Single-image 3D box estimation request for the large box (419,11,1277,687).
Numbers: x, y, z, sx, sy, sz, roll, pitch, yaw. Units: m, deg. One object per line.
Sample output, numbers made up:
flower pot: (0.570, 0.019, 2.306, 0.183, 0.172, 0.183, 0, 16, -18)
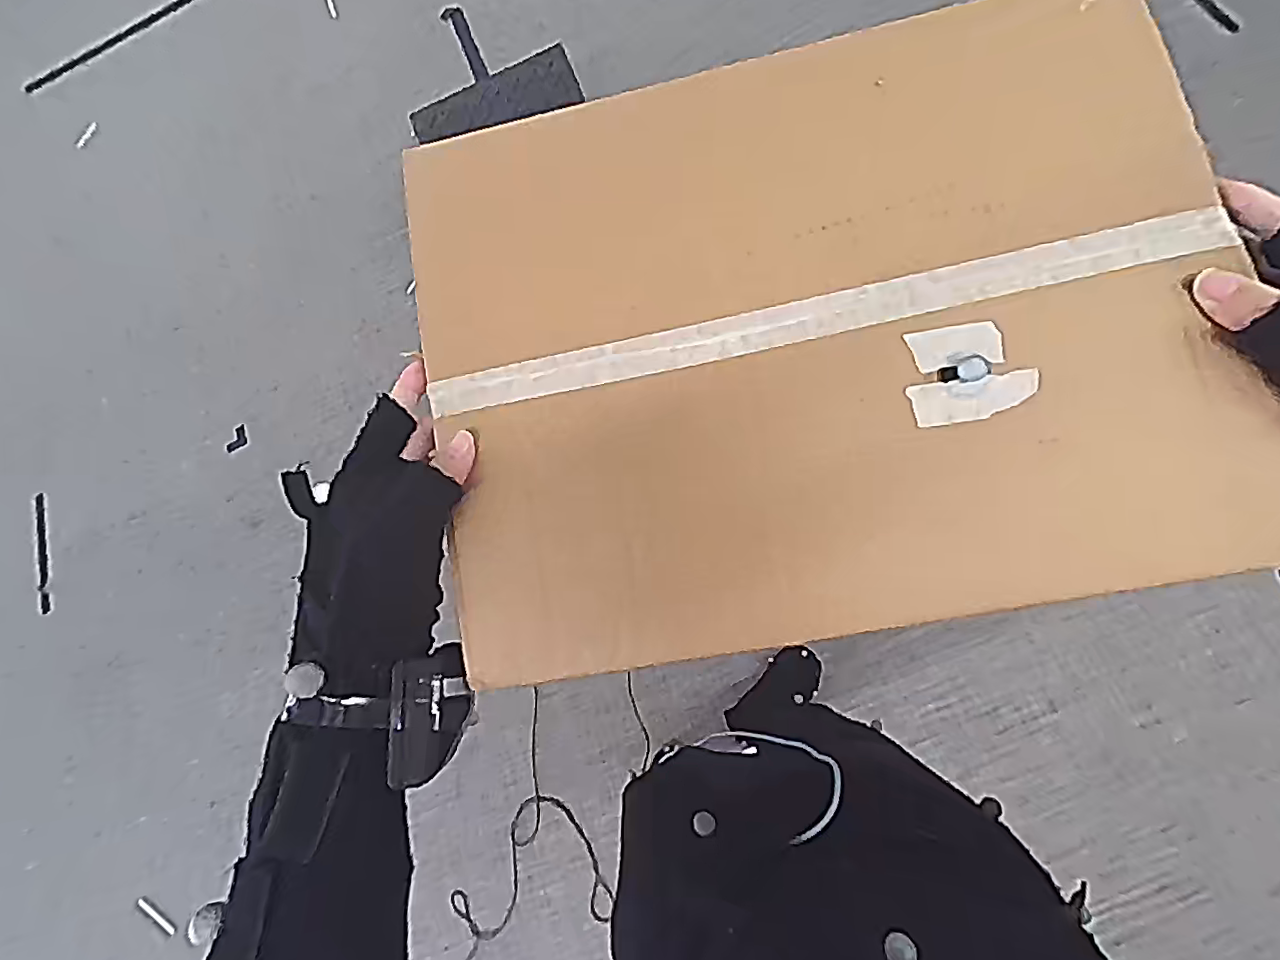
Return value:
large box: (0.098, -0.056, 0.442, 0.408, 0.320, 0.320, -12, 82, 5)
